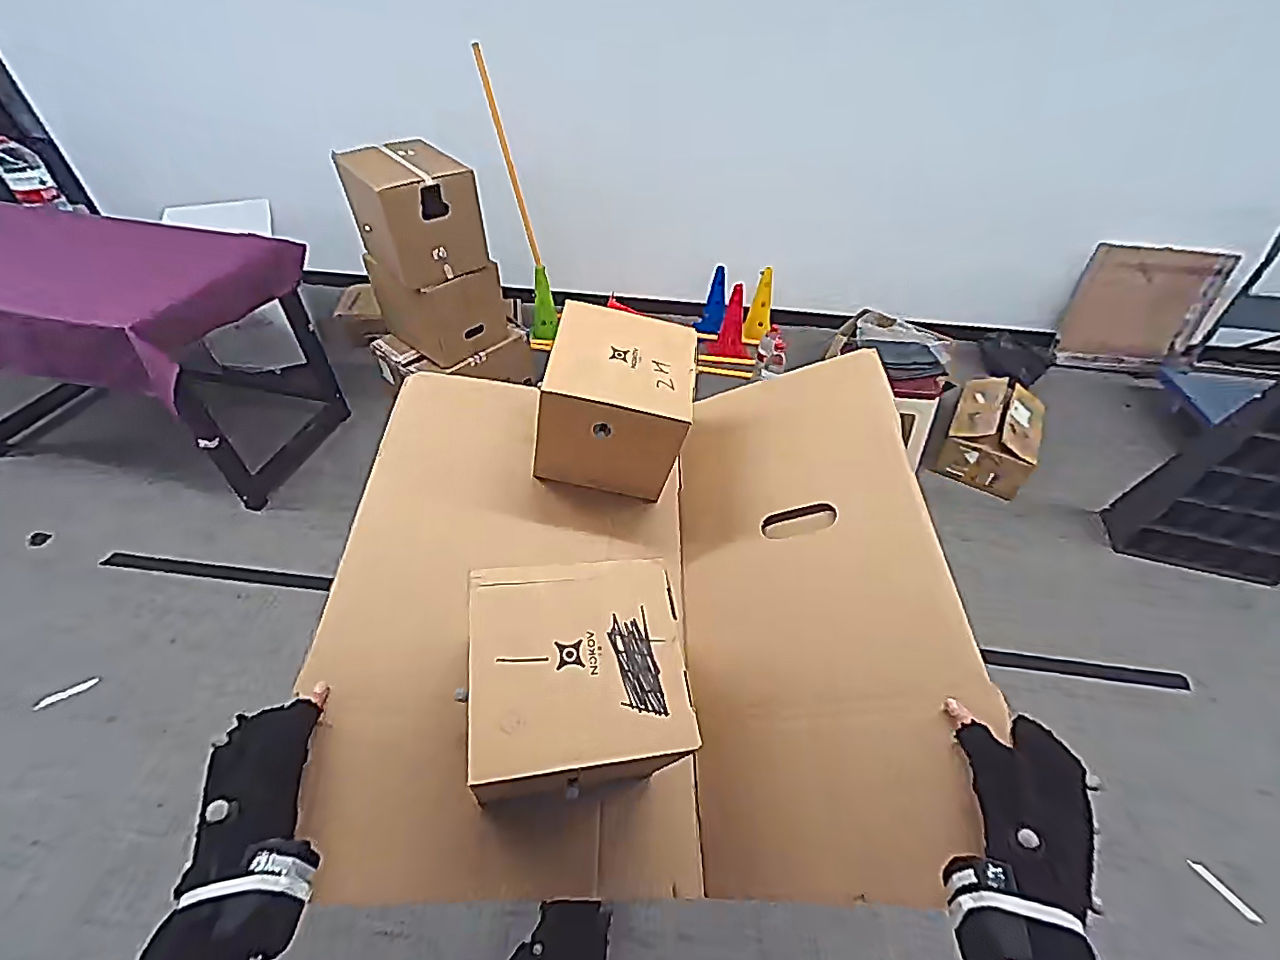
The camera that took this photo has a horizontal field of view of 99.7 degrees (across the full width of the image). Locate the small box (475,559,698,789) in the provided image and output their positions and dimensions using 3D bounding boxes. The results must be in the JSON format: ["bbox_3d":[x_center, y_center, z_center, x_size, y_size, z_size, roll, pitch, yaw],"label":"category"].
[{"bbox_3d":[-0.064,0.188,0.520,0.179,0.176,0.168,-1,57,-14],"label":"small box"}]

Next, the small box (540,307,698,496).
[{"bbox_3d":[-0.032,-0.097,0.725,0.179,0.176,0.168,13,54,-6],"label":"small box"}]
